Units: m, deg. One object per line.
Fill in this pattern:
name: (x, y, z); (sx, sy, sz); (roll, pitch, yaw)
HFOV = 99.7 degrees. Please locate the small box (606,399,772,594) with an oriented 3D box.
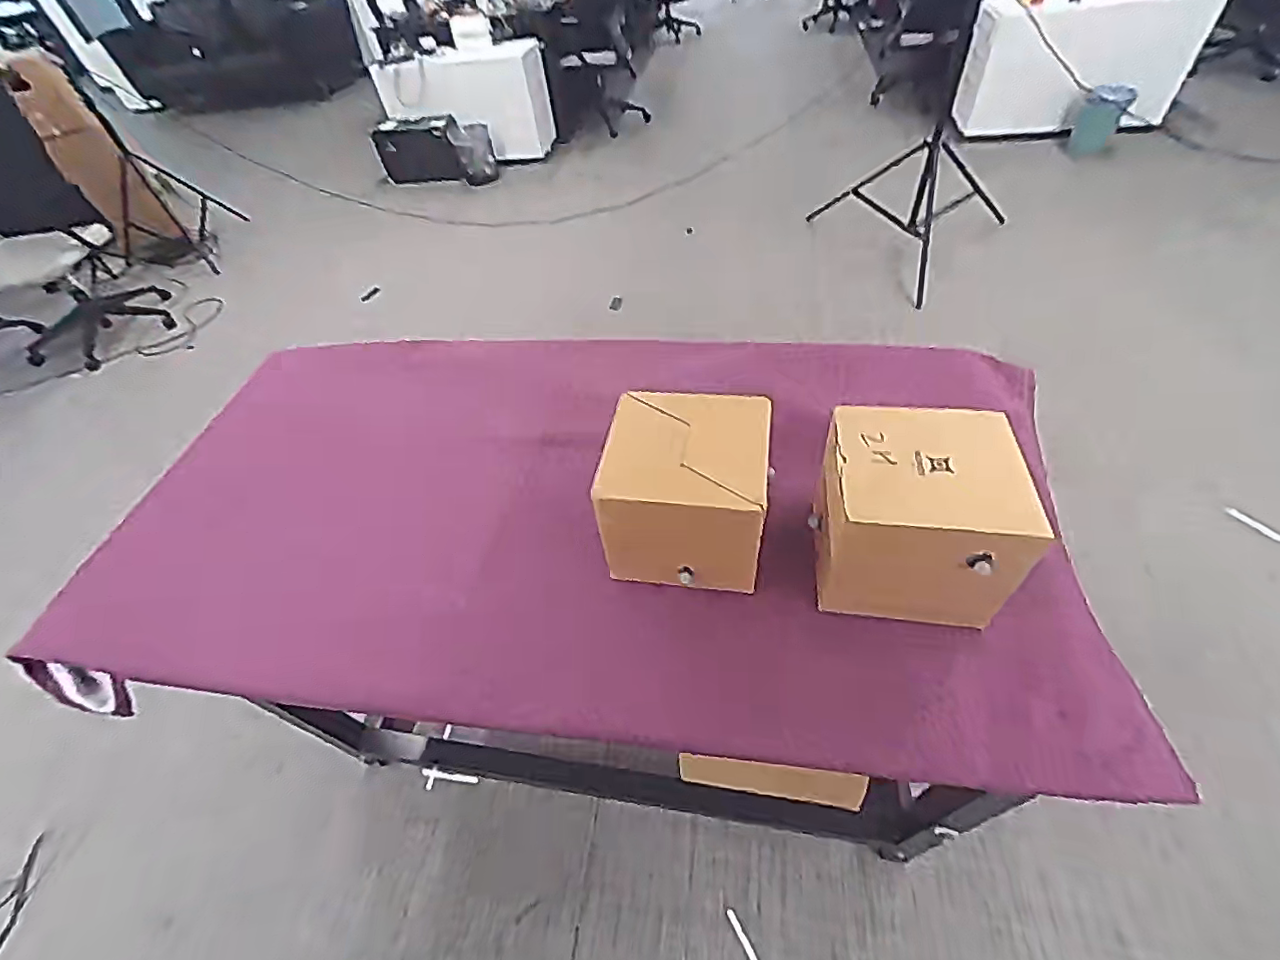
small box: (0.061, 0.015, 0.650); (0.179, 0.176, 0.168); (4, 49, 12)

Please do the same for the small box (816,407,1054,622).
small box: (0.300, 0.040, 0.598); (0.179, 0.176, 0.168); (4, 48, 11)
